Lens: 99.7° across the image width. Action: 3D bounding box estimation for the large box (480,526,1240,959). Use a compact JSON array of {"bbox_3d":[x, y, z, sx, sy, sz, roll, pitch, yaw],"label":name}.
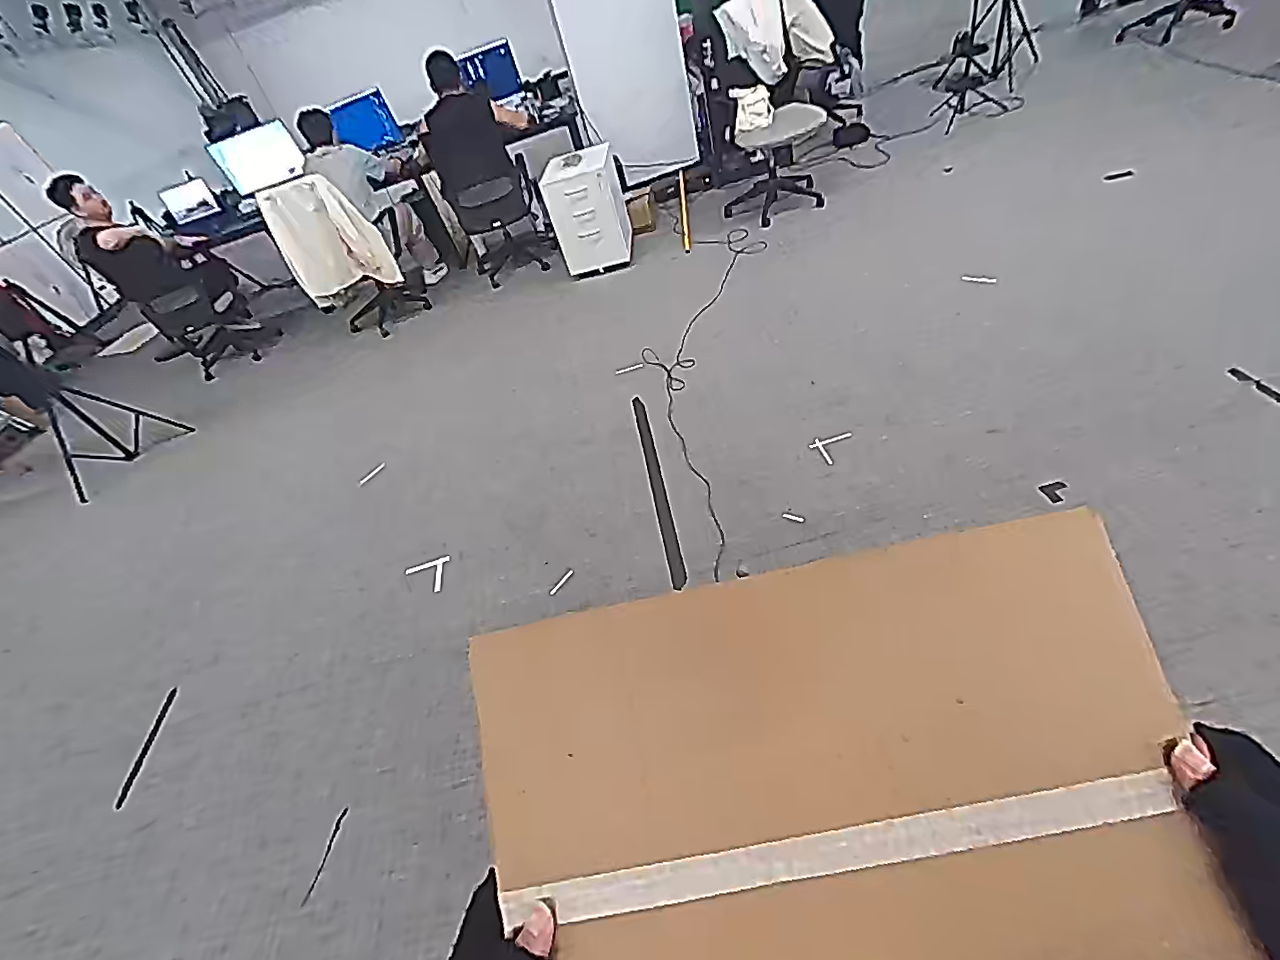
[{"bbox_3d":[0.131,0.249,0.469,0.408,0.320,0.320,-13,76,3],"label":"large box"}]
